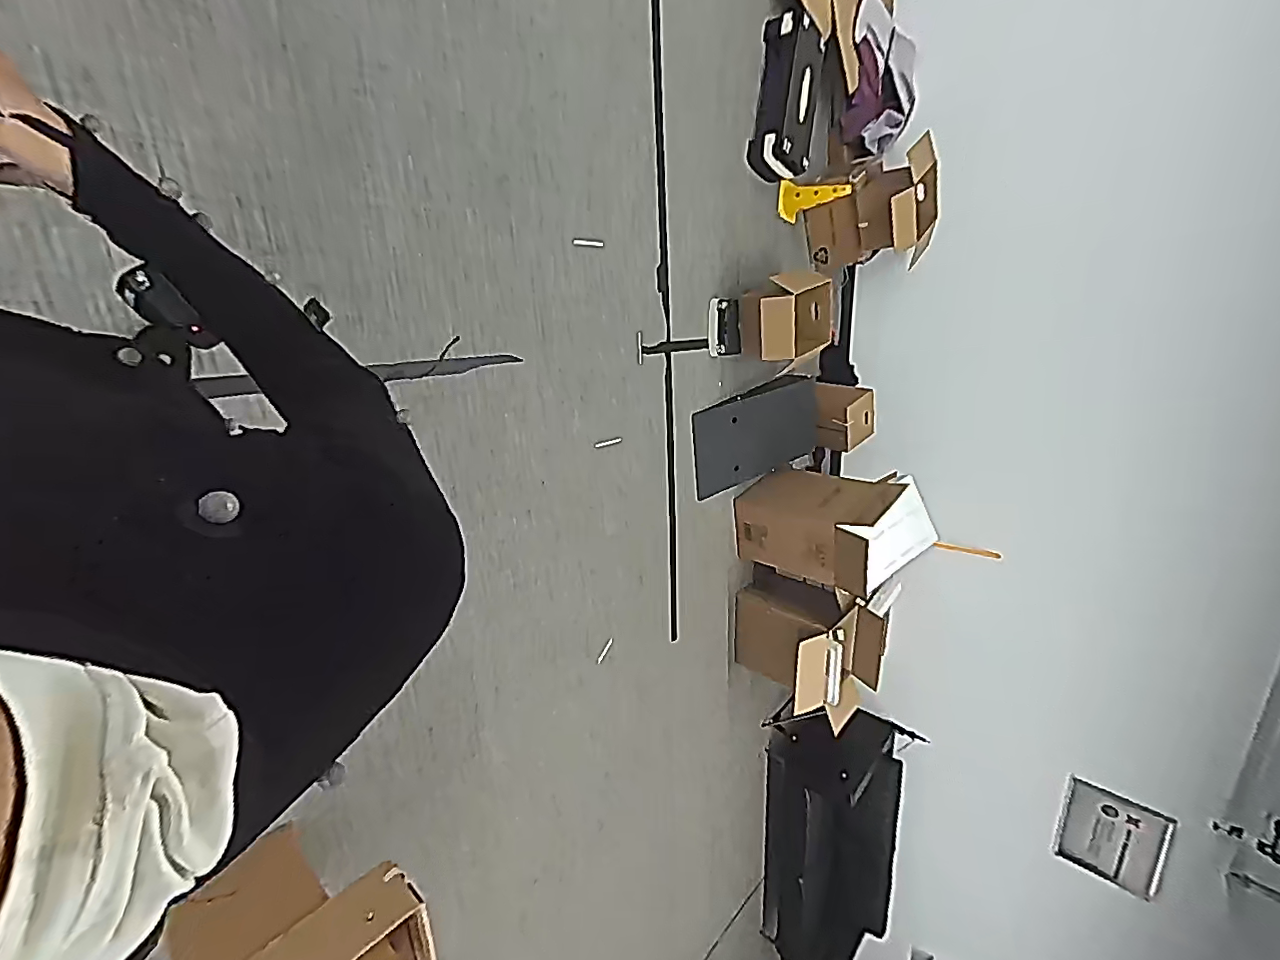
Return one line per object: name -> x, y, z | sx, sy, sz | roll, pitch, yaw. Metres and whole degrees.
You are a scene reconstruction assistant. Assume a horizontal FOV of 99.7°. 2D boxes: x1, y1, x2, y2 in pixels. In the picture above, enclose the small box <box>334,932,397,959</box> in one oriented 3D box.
small box -> -0.699, 1.301, 1.359 | 0.168, 0.176, 0.179 | -21, 117, -45
